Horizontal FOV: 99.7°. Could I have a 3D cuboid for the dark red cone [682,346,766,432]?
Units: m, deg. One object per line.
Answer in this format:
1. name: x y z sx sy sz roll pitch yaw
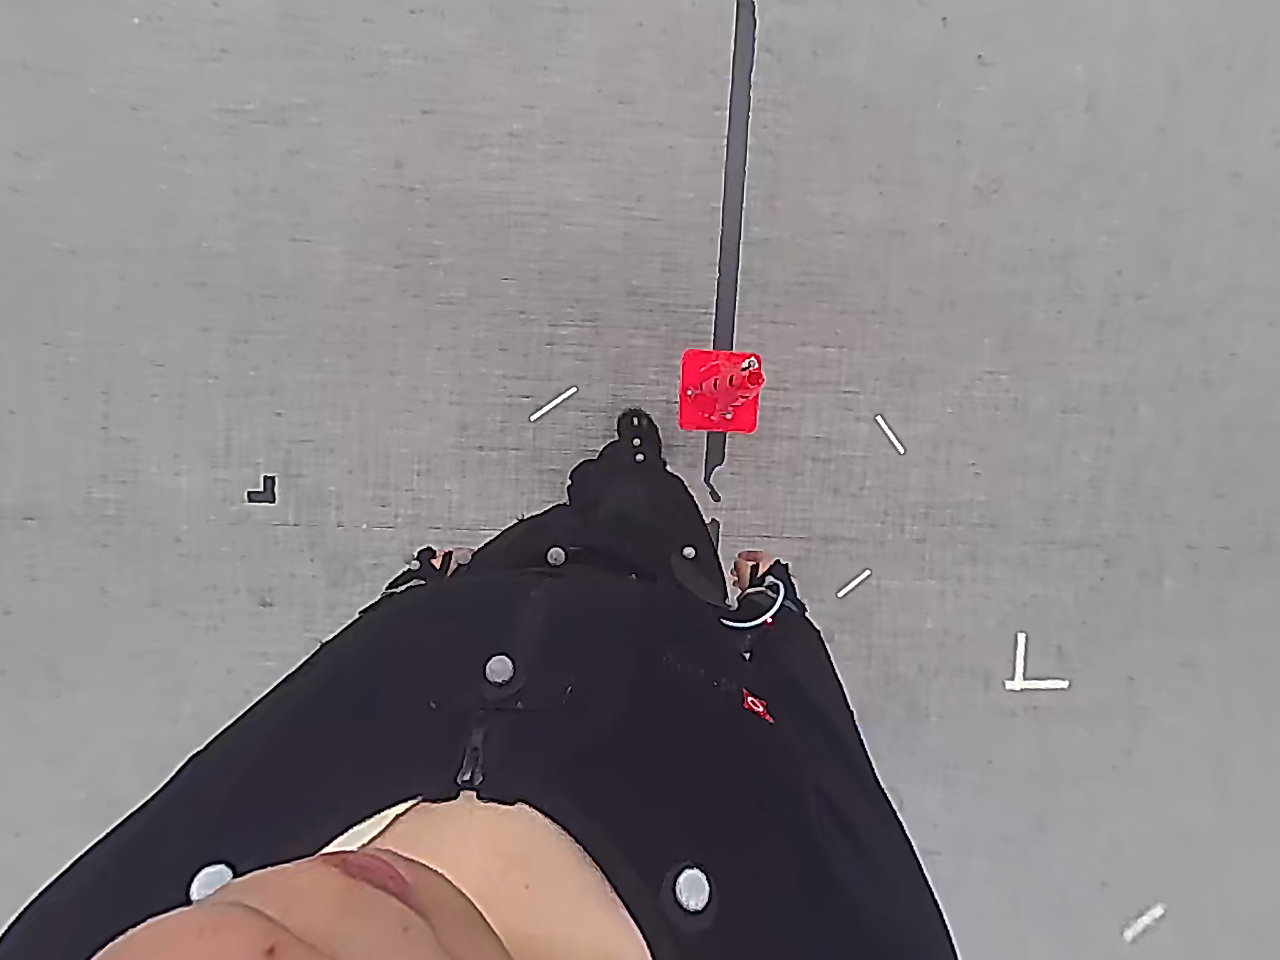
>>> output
1. dark red cone: 0.206 -0.203 1.155 0.201 0.394 0.202 2 96 -1
